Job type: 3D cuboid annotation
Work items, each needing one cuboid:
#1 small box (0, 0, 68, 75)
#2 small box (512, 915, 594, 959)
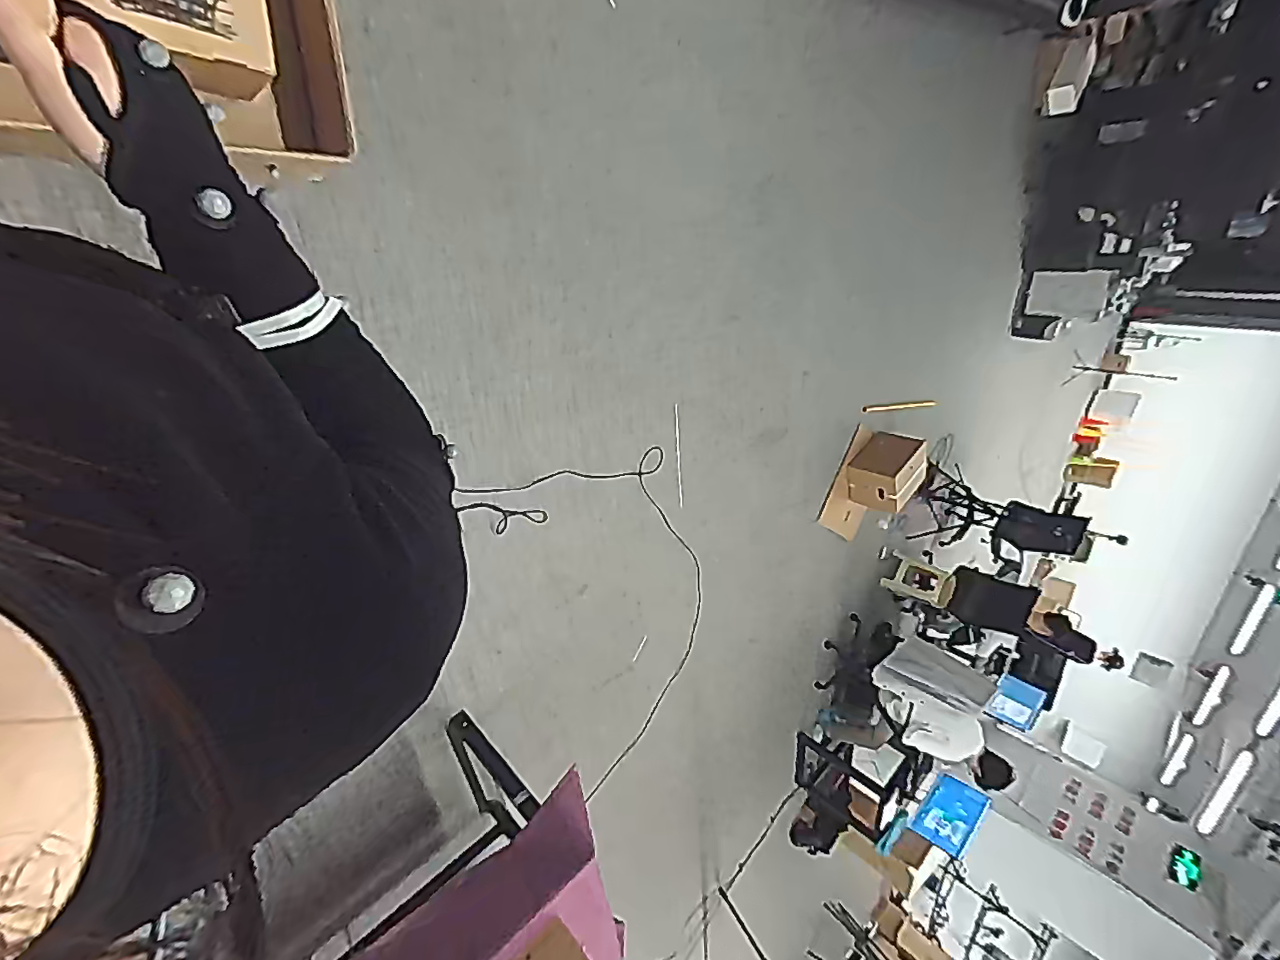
[{"bbox_3d":[-0.408,-0.302,0.243,0.179,0.176,0.168,-20,127,-41],"label":"small box"},{"bbox_3d":[-0.205,1.238,1.338,0.168,0.176,0.179,-29,126,-33],"label":"small box"}]
